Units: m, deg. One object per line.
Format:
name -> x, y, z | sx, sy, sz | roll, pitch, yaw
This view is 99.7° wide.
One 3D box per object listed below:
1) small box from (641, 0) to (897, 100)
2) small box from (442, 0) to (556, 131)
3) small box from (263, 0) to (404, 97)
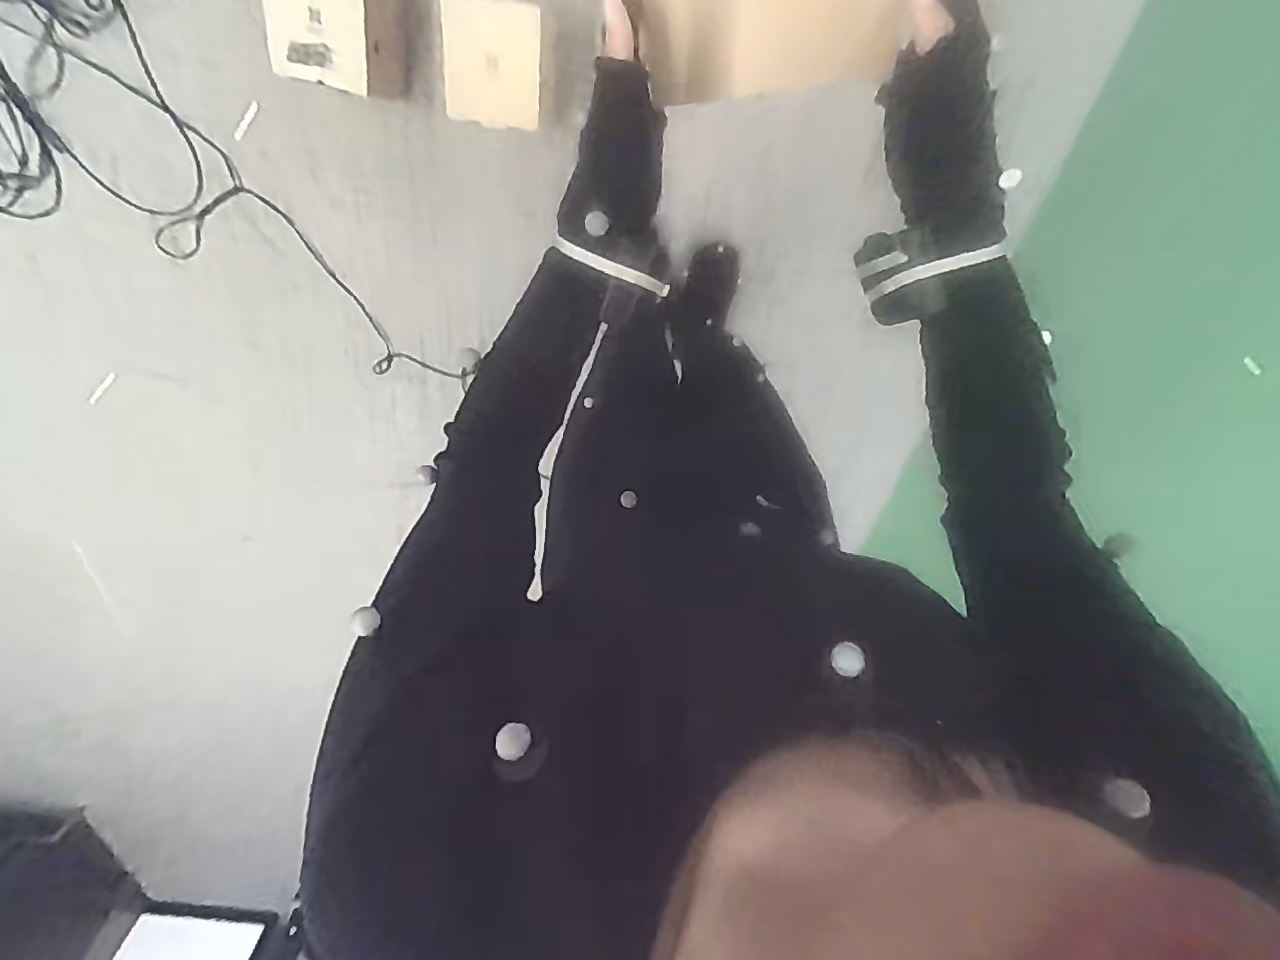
small box -> 0.092, -0.392, 0.374 | 0.168, 0.176, 0.179 | 2, 135, 12
small box -> -0.250, -0.754, 0.989 | 0.168, 0.176, 0.179 | 7, 124, -2
small box -> -0.535, -0.806, 0.964 | 0.168, 0.176, 0.179 | 11, 122, -5
